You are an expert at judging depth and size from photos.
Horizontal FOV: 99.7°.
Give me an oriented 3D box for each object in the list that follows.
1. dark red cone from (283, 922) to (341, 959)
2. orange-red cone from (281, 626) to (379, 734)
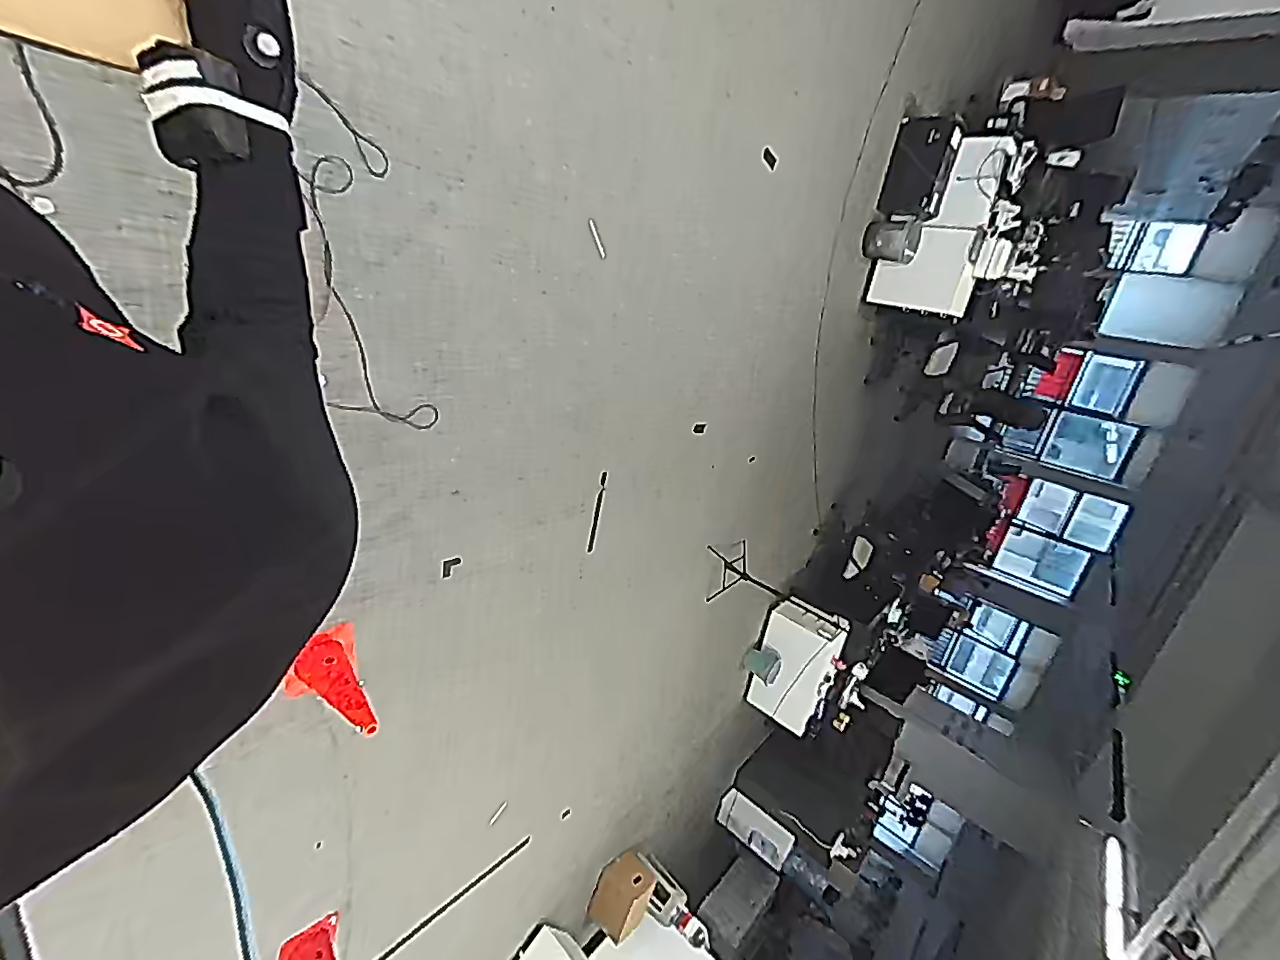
[{"bbox_3d":[-1.114,1.835,1.924,0.201,0.394,0.202,-4,113,-50],"label":"dark red cone"},{"bbox_3d":[-0.858,0.613,1.562,0.198,0.360,0.199,-17,121,-48],"label":"orange-red cone"}]
